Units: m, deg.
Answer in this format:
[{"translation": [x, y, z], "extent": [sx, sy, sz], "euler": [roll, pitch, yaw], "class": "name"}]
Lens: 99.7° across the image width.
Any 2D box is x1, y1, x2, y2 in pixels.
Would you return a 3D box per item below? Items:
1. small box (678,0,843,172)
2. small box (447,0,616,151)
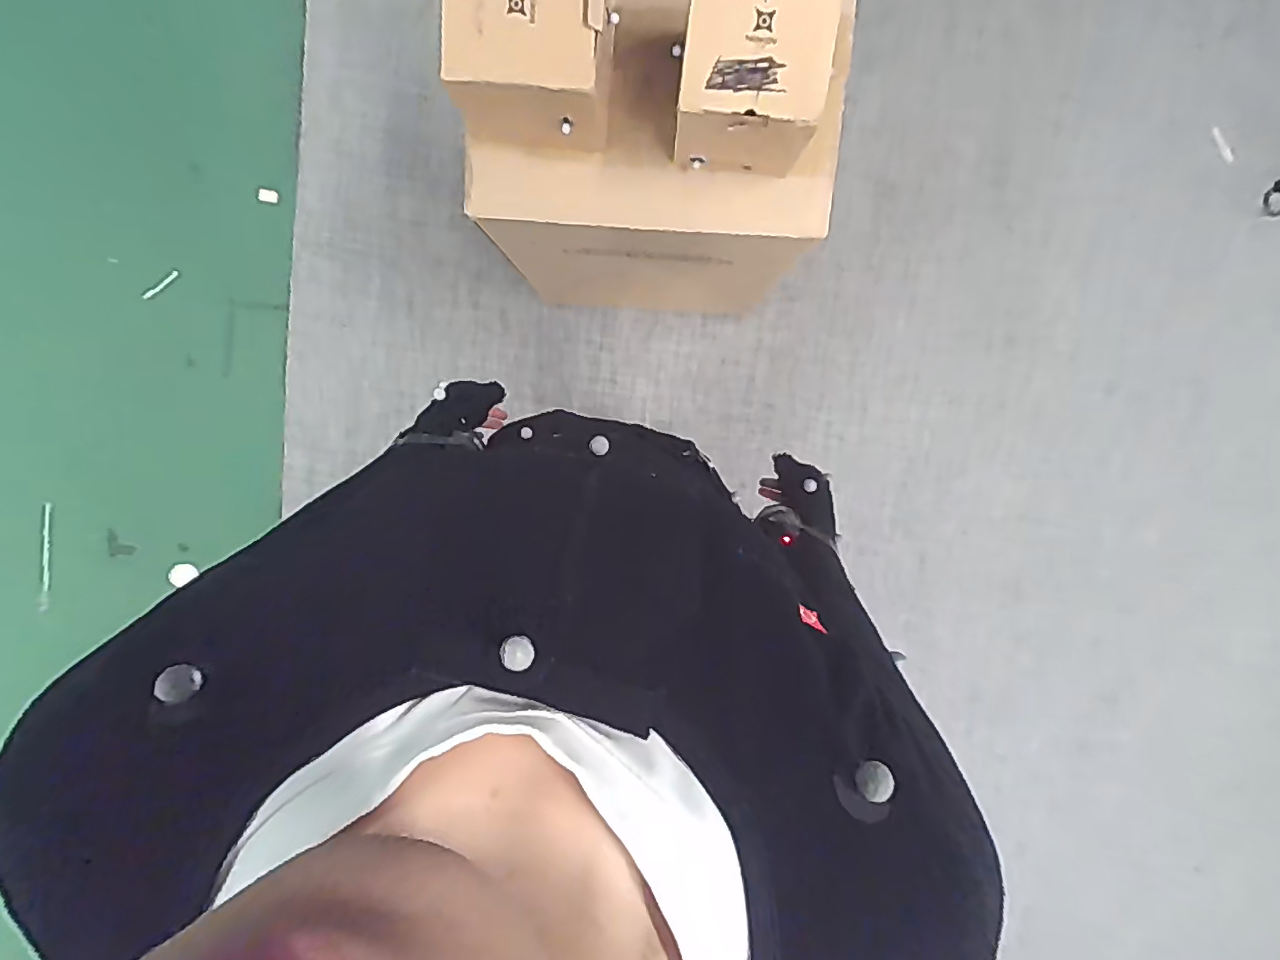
[{"translation": [0.139, -0.510, 0.672], "extent": [0.168, 0.176, 0.179], "euler": [7, 100, 1], "class": "small box"}, {"translation": [-0.125, -0.539, 0.681], "extent": [0.179, 0.176, 0.168], "euler": [4, 99, 3], "class": "small box"}]
